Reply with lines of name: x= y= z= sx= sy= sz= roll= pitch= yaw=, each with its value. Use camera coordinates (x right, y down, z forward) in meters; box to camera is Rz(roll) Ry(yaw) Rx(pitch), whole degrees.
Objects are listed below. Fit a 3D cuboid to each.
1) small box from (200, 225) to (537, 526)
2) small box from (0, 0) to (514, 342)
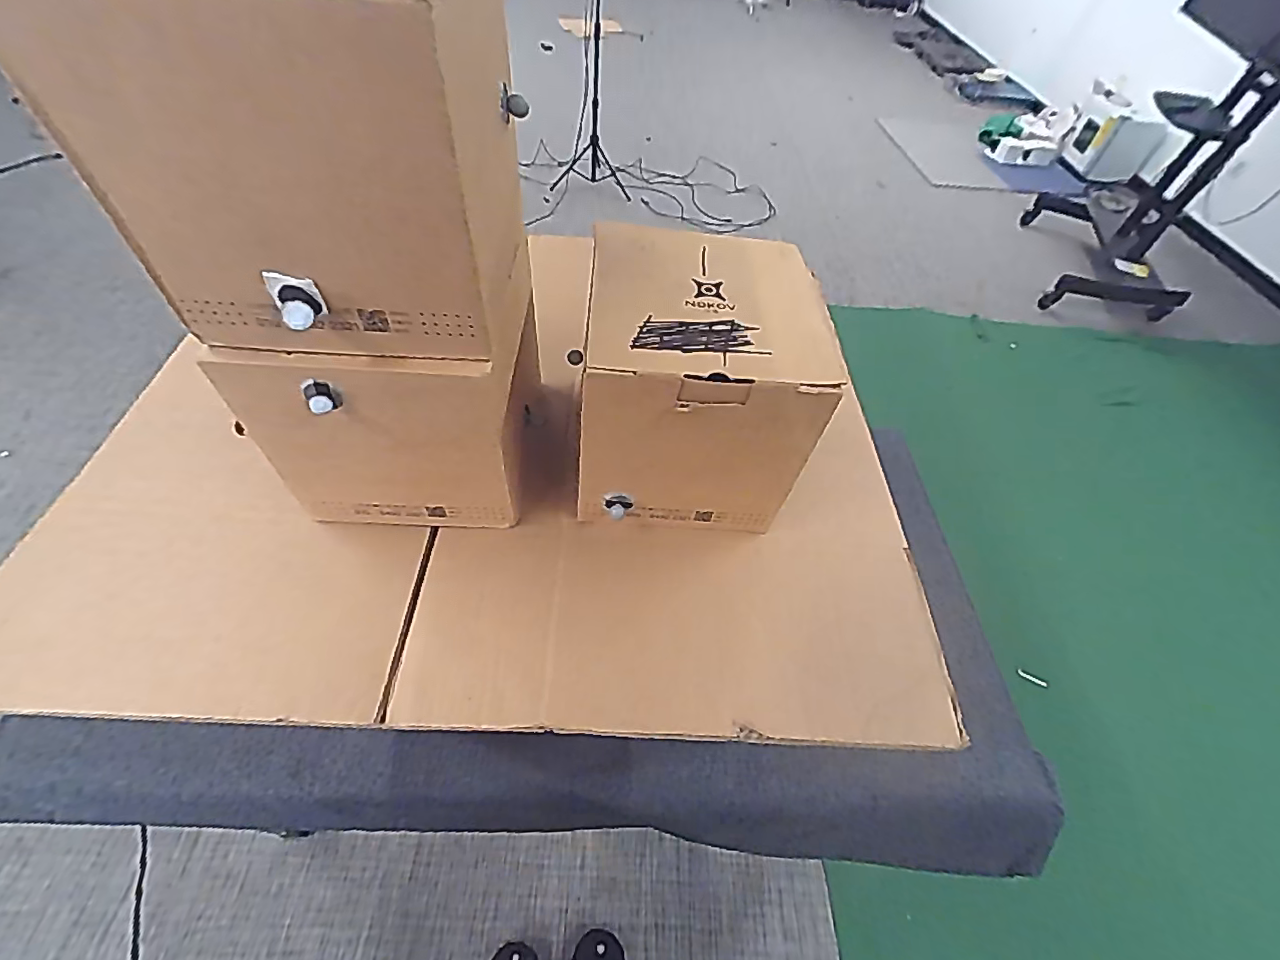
small box: x=-0.178 y=-0.085 z=0.428 sx=0.168 sy=0.176 sz=0.179 roll=2 pitch=52 yaw=-2
small box: x=-0.165 y=-0.199 z=0.292 sx=0.168 sy=0.176 sz=0.179 roll=0 pitch=54 yaw=-5
